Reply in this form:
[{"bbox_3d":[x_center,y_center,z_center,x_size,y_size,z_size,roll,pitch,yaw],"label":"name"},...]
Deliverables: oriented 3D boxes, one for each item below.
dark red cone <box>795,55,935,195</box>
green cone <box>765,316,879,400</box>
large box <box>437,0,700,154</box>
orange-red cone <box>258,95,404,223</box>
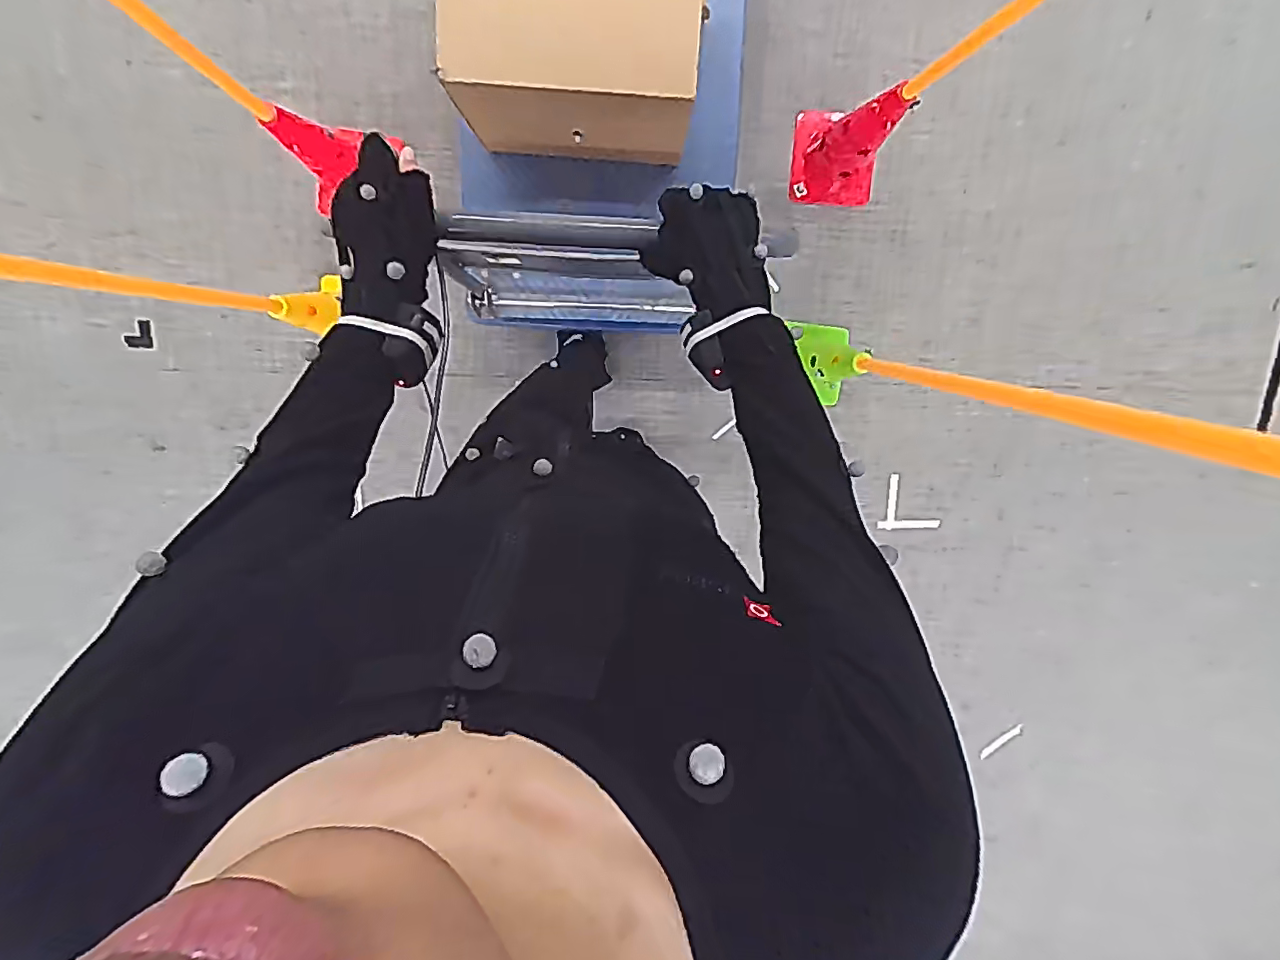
[{"bbox_3d":[0.474,-0.743,1.109,0.201,0.394,0.202,1,103,-3],"label":"dark red cone"},{"bbox_3d":[0.437,-0.275,1.234,0.202,0.368,0.200,5,103,-4],"label":"green cone"},{"bbox_3d":[-0.106,-0.800,0.954,0.408,0.320,0.320,3,103,-1],"label":"large box"},{"bbox_3d":[-0.659,-0.693,1.117,0.198,0.360,0.199,9,101,-4],"label":"orange-red cone"}]
